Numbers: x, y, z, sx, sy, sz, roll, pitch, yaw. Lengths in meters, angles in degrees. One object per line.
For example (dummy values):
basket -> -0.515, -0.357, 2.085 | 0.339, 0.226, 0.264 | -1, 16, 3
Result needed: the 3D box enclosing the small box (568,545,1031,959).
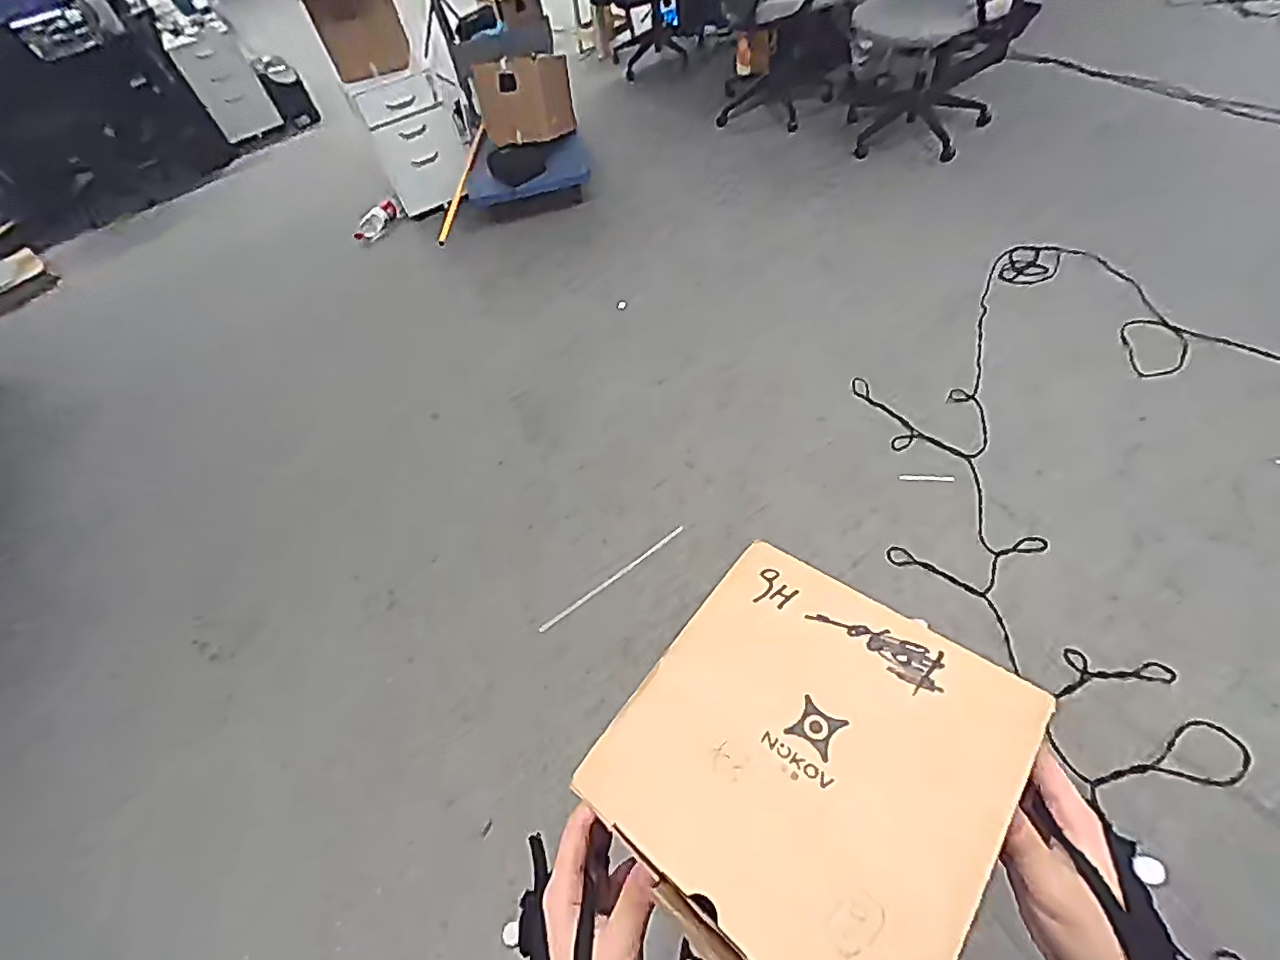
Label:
small box -> 0.091, 0.180, 0.329 | 0.168, 0.176, 0.179 | 29, 62, 31
